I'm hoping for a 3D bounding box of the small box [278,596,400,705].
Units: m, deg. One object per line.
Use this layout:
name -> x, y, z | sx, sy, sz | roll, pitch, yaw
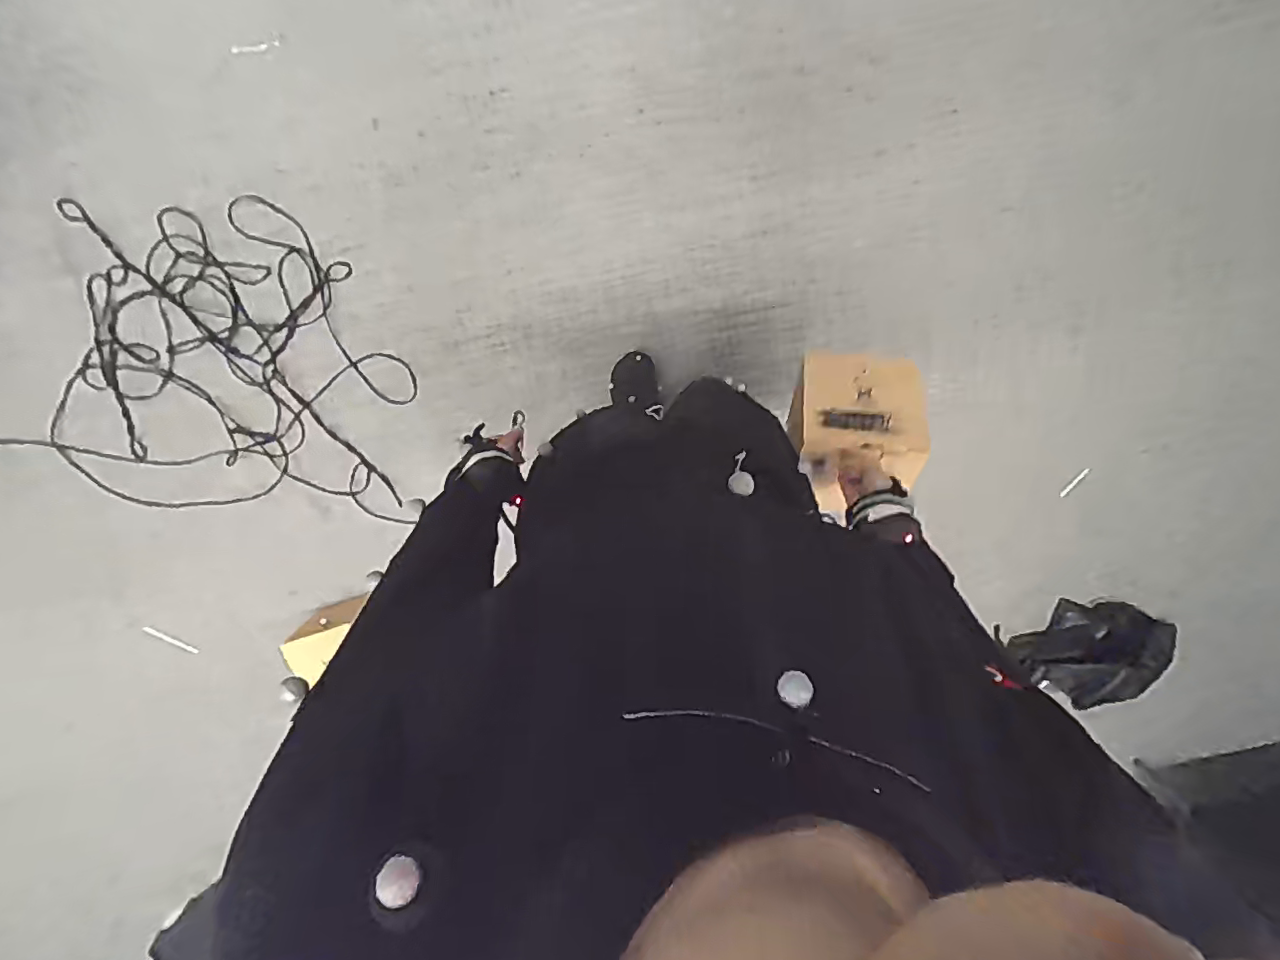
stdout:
small box -> -0.727, 0.411, 1.327 | 0.179, 0.176, 0.168 | -18, 104, 0
